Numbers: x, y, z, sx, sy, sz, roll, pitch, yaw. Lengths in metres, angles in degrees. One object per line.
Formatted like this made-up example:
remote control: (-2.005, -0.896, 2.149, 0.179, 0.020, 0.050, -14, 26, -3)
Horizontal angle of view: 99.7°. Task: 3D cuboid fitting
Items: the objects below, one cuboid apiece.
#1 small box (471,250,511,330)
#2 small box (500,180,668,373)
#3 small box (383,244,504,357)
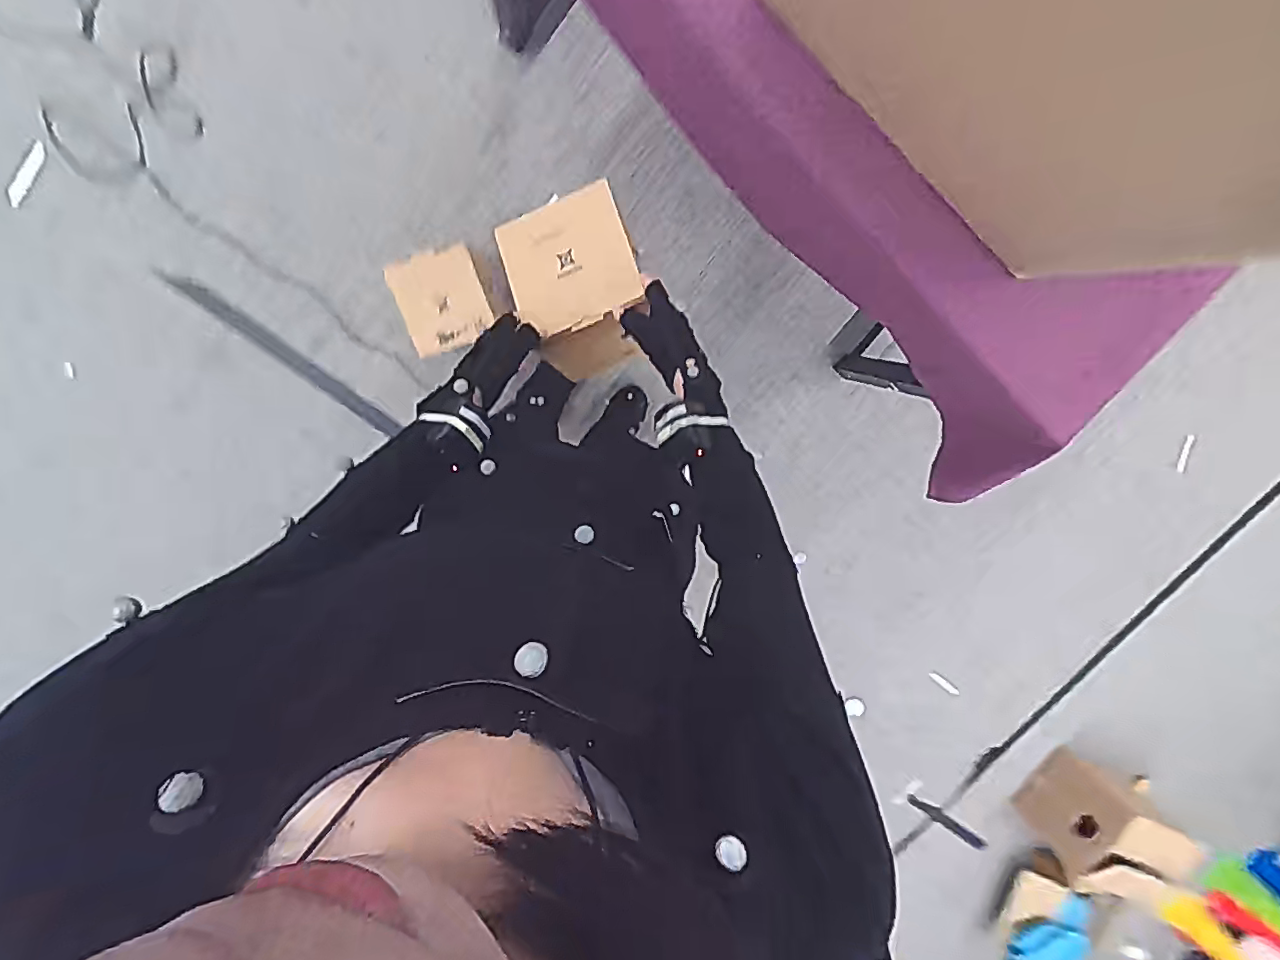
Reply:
small box: (-0.415, -0.416, 1.267, 0.168, 0.176, 0.179, -21, 109, -1)
small box: (-0.069, -0.266, 0.758, 0.168, 0.176, 0.179, -18, 79, 9)
small box: (-0.392, -0.363, 1.114, 0.168, 0.176, 0.179, -19, 108, -2)
